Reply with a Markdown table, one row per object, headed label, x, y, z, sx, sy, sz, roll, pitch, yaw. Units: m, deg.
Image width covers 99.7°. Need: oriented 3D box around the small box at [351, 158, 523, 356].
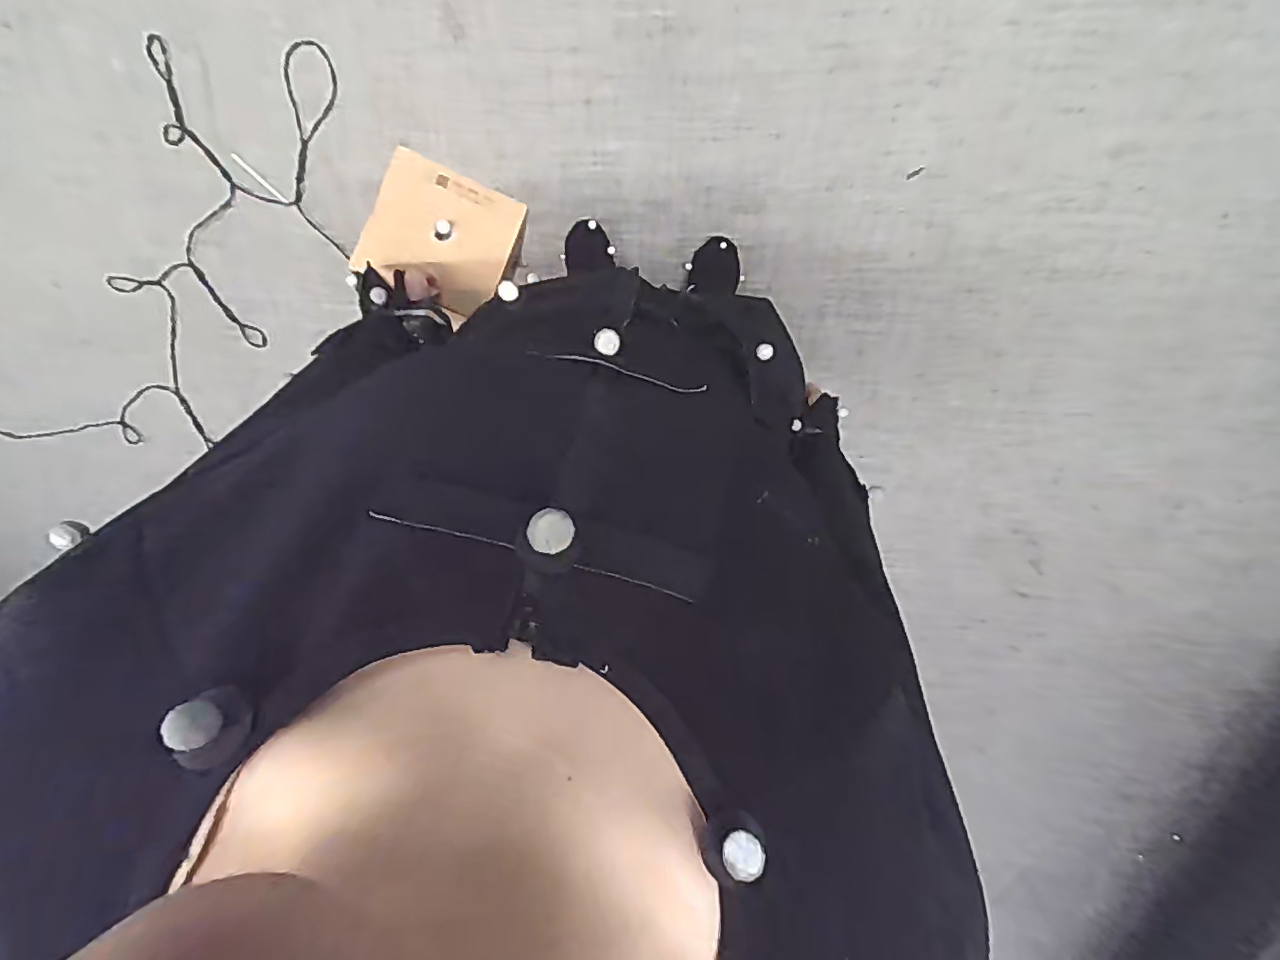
| label | x | y | z | sx | sy | sz | roll | pitch | yaw |
| --- | --- | --- | --- | --- | --- | --- | --- | --- | --- |
| small box | -0.271 | -0.296 | 0.746 | 0.168 | 0.179 | 0.176 | 21 | 84 | -17 |
